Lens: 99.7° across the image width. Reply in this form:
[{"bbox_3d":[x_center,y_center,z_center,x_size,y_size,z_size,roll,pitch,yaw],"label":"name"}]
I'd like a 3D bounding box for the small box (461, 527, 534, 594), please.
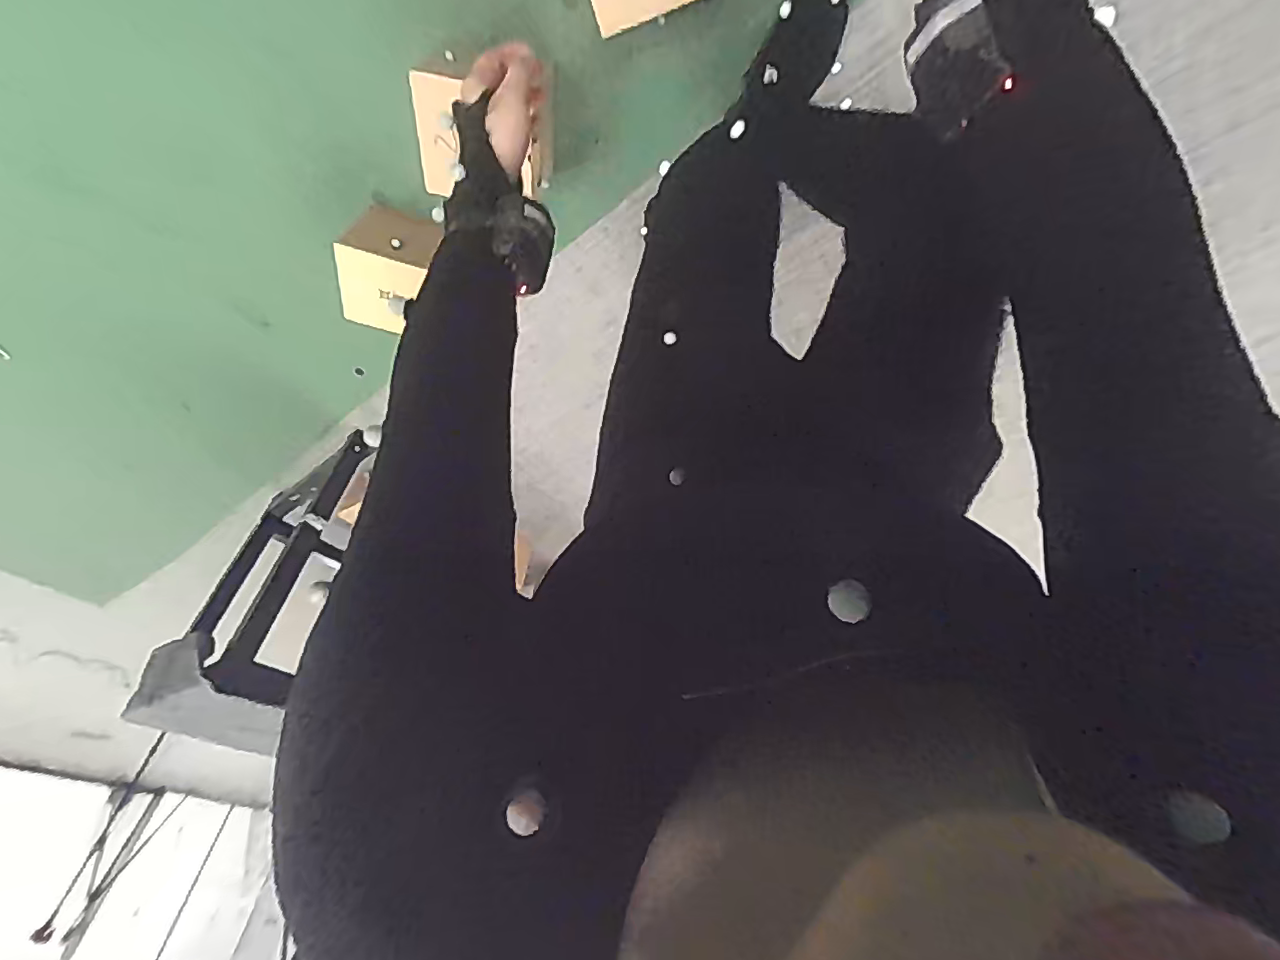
[{"bbox_3d":[-0.491,0.276,1.883,0.168,0.176,0.179,-9,139,17],"label":"small box"}]

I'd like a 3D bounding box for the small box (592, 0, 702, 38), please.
[{"bbox_3d":[0.015,-0.699,0.676,0.179,0.176,0.168,-10,138,17],"label":"small box"}]

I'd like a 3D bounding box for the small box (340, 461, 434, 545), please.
[{"bbox_3d":[-0.771,0.071,1.670,0.168,0.176,0.179,-20,133,27],"label":"small box"}]

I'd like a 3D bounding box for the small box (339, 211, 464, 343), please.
[{"bbox_3d":[-0.465,-0.407,1.076,0.179,0.176,0.168,13,139,-10],"label":"small box"}]
